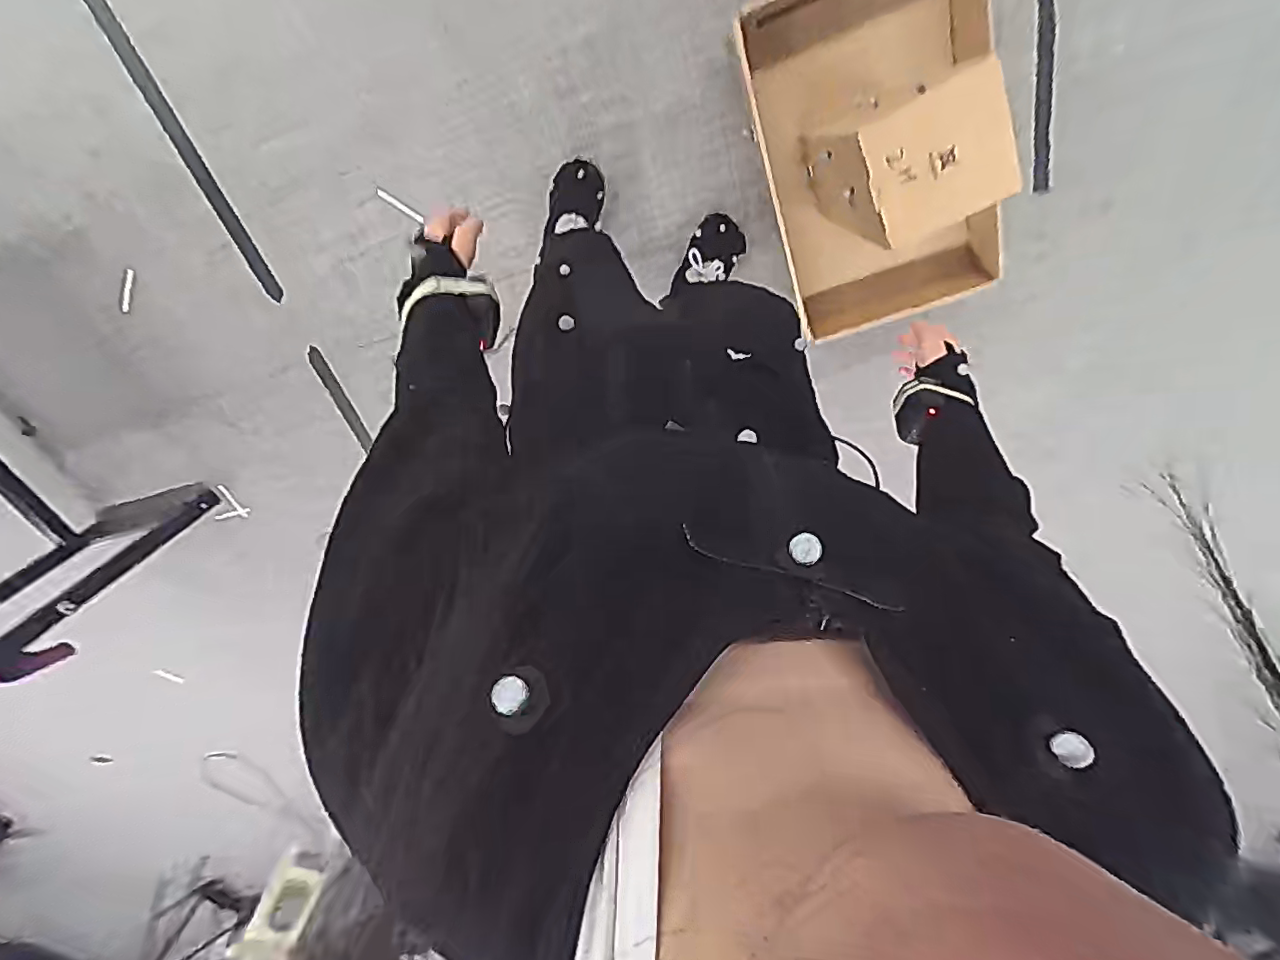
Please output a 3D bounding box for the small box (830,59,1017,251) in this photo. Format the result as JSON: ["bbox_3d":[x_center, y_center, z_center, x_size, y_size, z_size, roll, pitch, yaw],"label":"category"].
[{"bbox_3d":[0.399,-0.462,0.783,0.179,0.176,0.168,-22,116,18],"label":"small box"}]

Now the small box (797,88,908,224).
[{"bbox_3d":[0.426,-0.634,1.064,0.179,0.176,0.168,-20,117,18],"label":"small box"}]
